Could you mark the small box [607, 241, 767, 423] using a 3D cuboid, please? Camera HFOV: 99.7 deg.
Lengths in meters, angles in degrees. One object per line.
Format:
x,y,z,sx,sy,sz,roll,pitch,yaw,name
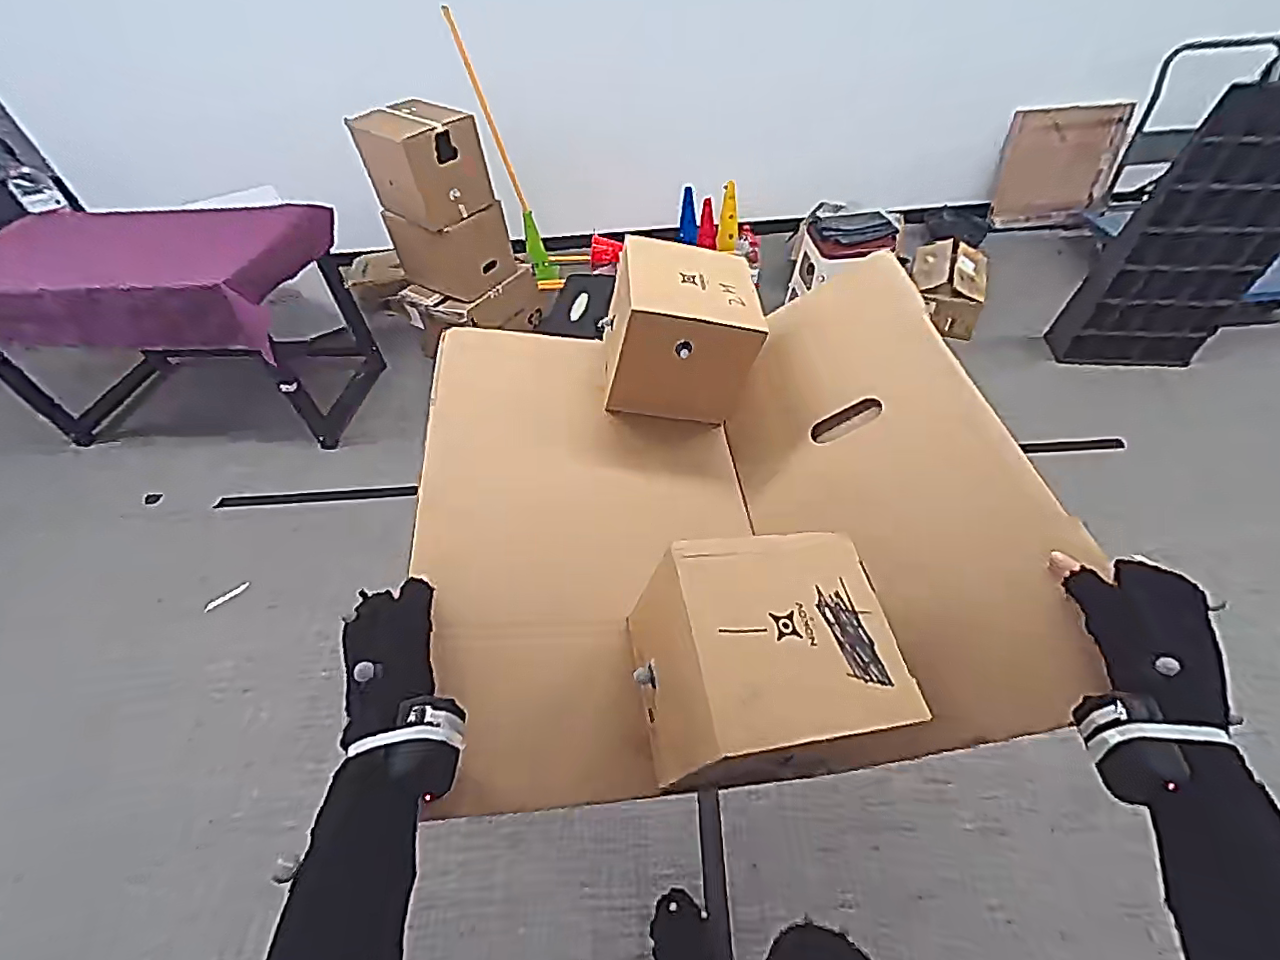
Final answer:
0.051,-0.197,0.750,0.179,0.176,0.168,7,52,-12,small box
